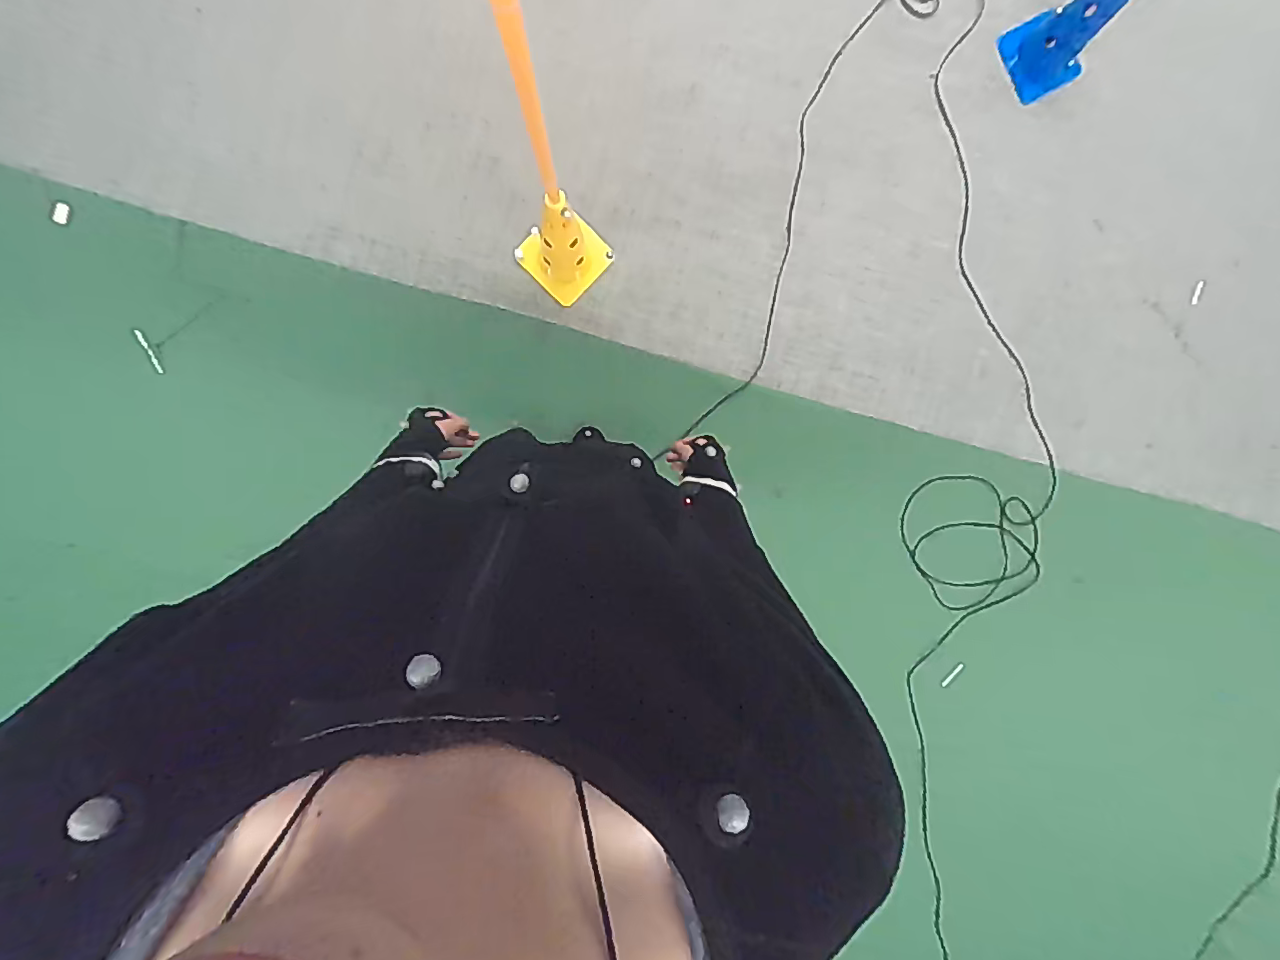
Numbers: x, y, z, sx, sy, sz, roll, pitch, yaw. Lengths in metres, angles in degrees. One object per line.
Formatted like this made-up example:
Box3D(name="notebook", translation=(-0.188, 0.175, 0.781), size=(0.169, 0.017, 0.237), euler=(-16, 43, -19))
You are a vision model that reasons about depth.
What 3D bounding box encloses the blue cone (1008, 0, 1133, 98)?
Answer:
Box3D(name="blue cone", translation=(1.135, -1.167, 1.326), size=(0.193, 0.380, 0.192), euler=(-31, 96, -4))
